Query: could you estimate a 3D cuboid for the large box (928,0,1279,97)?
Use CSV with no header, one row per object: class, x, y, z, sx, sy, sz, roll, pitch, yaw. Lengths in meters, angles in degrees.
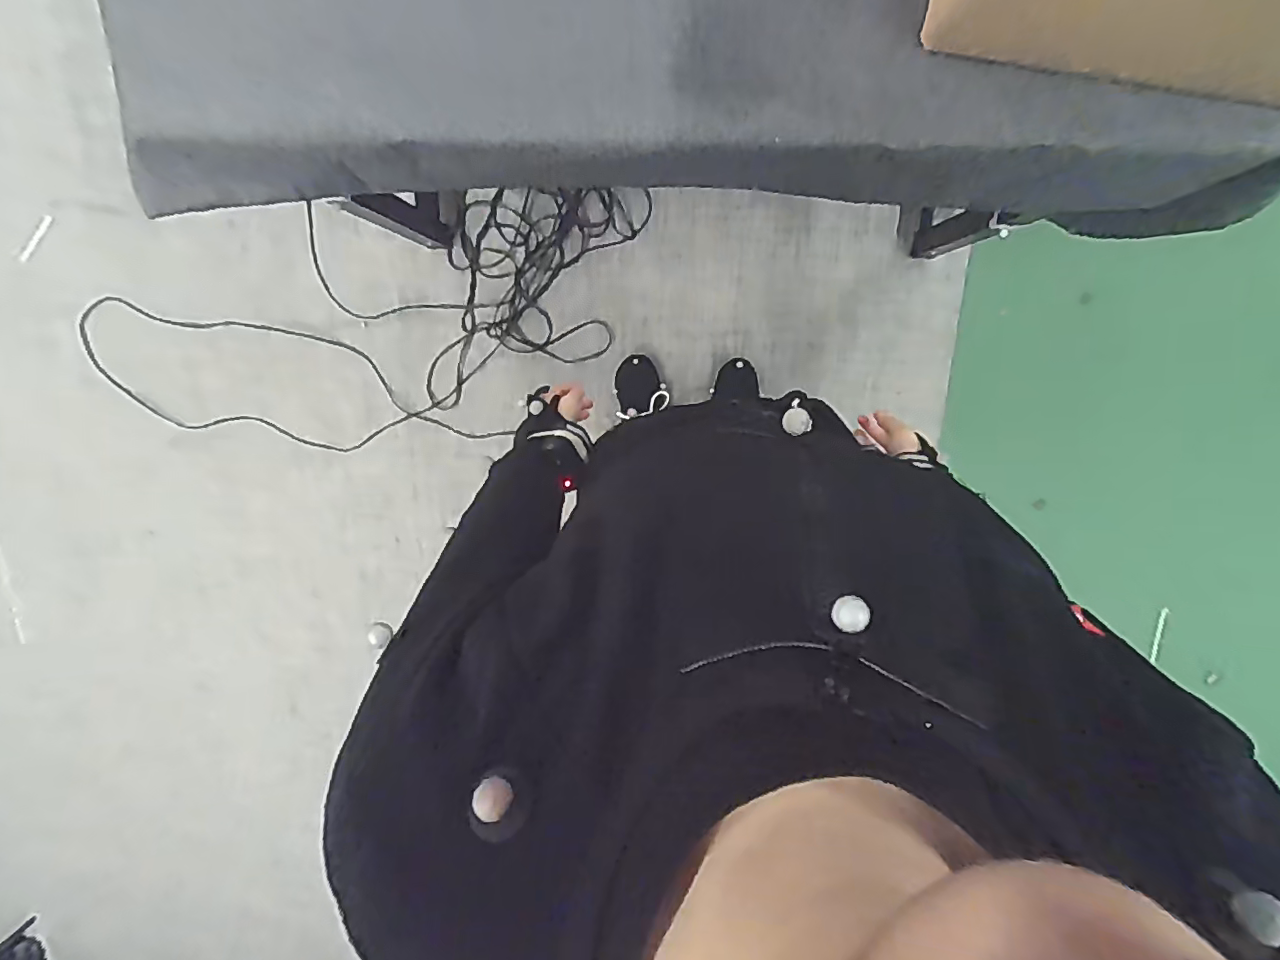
large box,0.485,-0.510,0.352,0.408,0.320,0.320,8,103,-1
